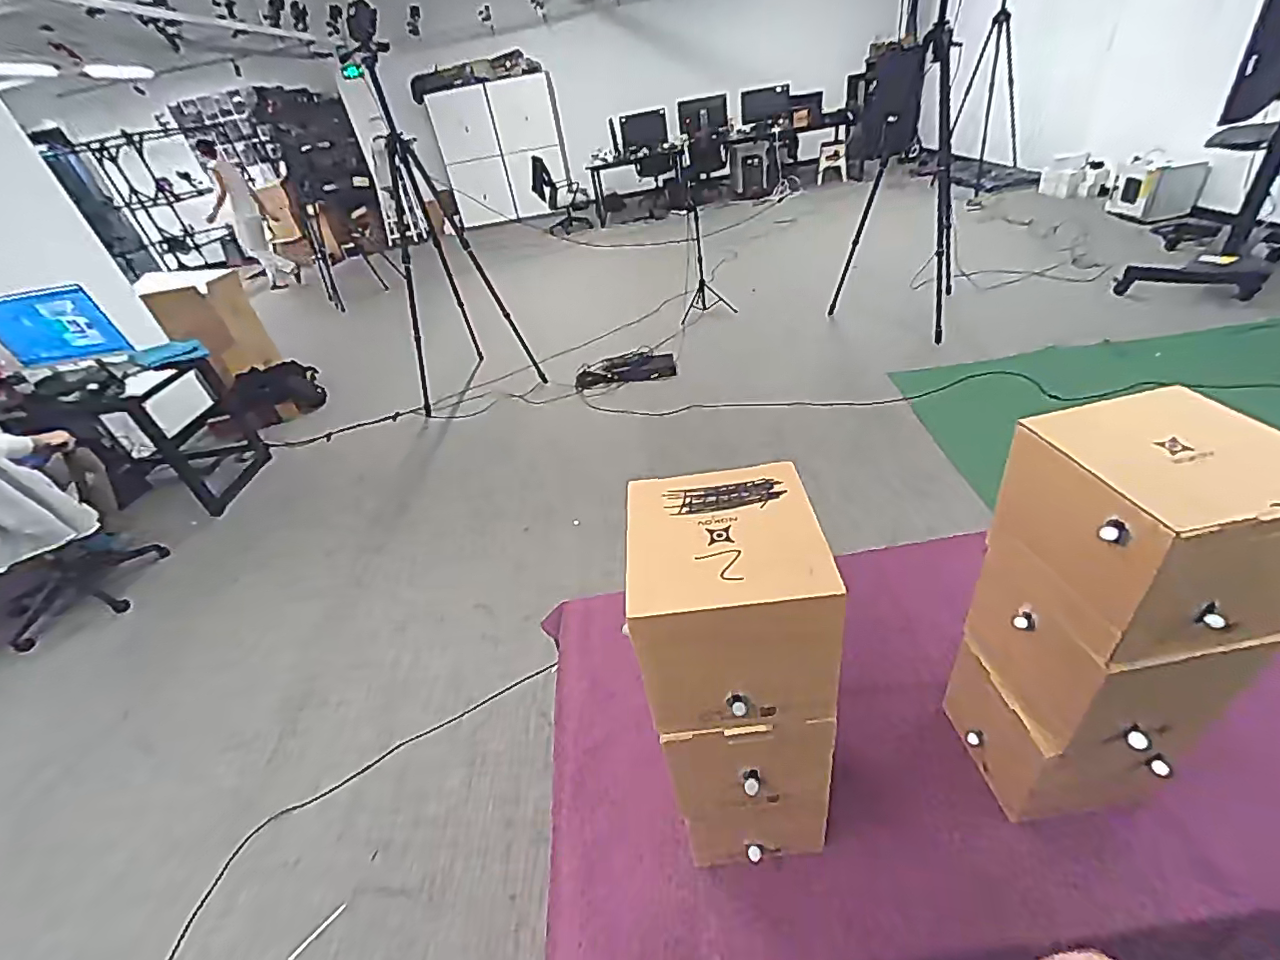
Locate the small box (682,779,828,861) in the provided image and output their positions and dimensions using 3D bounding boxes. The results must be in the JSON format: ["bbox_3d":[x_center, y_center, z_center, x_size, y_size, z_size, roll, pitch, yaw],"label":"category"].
[{"bbox_3d":[0.138,0.368,0.715,0.168,0.176,0.179,-9,36,4],"label":"small box"}]

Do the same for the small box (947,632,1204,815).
[{"bbox_3d":[0.532,0.300,0.695,0.179,0.176,0.168,-10,35,2],"label":"small box"}]

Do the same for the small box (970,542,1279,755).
[{"bbox_3d":[0.504,0.170,0.602,0.168,0.176,0.179,-11,37,2],"label":"small box"}]

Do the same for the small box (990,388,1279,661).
[{"bbox_3d":[0.473,0.038,0.512,0.168,0.176,0.179,-13,37,0],"label":"small box"}]

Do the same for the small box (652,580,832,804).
[{"bbox_3d":[0.109,0.243,0.613,0.168,0.176,0.179,-9,37,4],"label":"small box"}]
